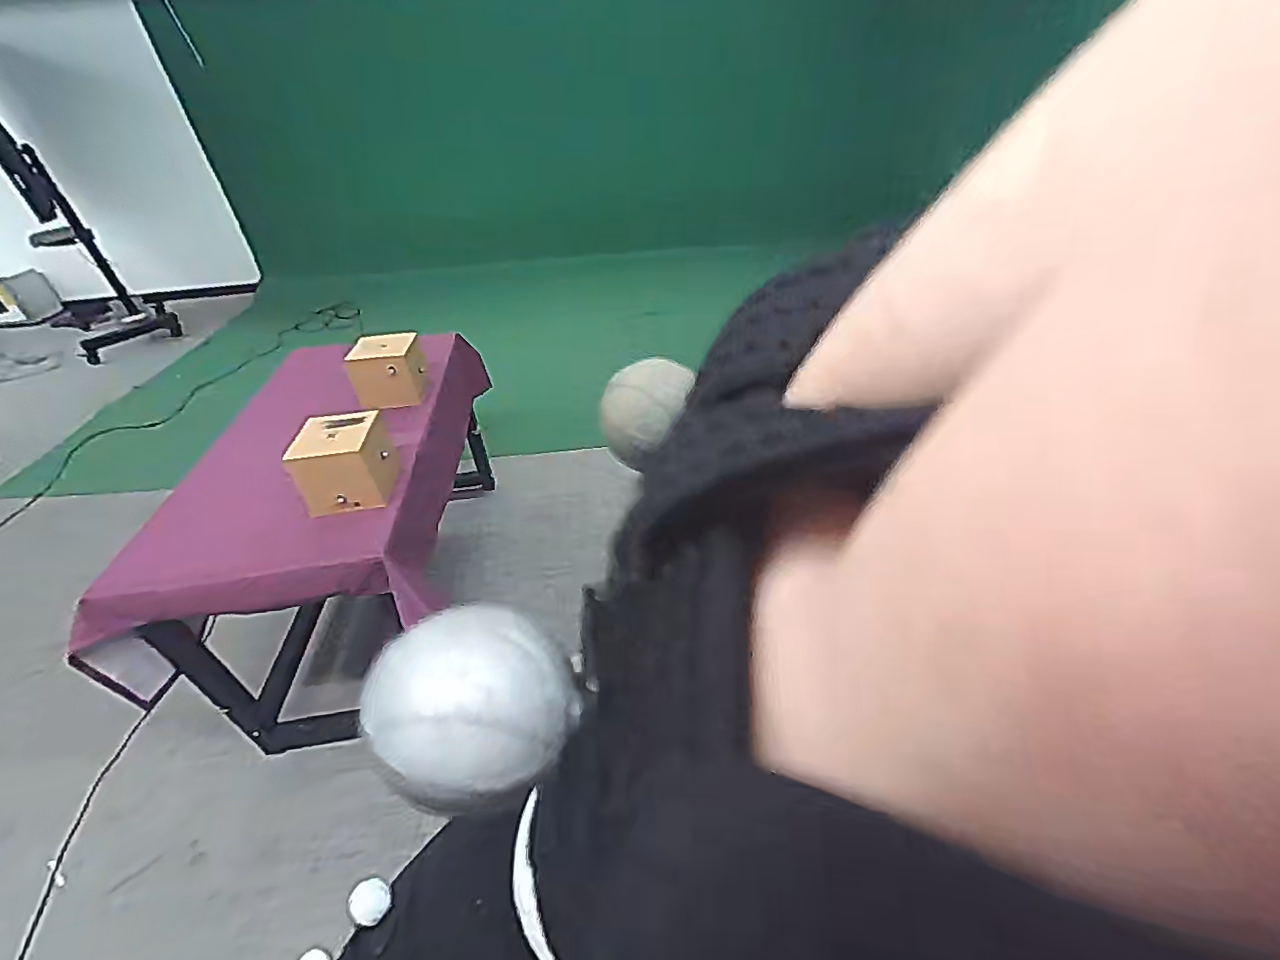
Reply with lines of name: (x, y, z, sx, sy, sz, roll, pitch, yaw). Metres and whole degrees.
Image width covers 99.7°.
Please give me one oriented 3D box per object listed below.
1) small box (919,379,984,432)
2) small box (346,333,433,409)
small box: (1.305, -0.312, 2.276, 0.179, 0.176, 0.168, 1, 38, 10)
small box: (-0.756, -0.334, 1.659, 0.179, 0.176, 0.168, -6, 38, -1)
